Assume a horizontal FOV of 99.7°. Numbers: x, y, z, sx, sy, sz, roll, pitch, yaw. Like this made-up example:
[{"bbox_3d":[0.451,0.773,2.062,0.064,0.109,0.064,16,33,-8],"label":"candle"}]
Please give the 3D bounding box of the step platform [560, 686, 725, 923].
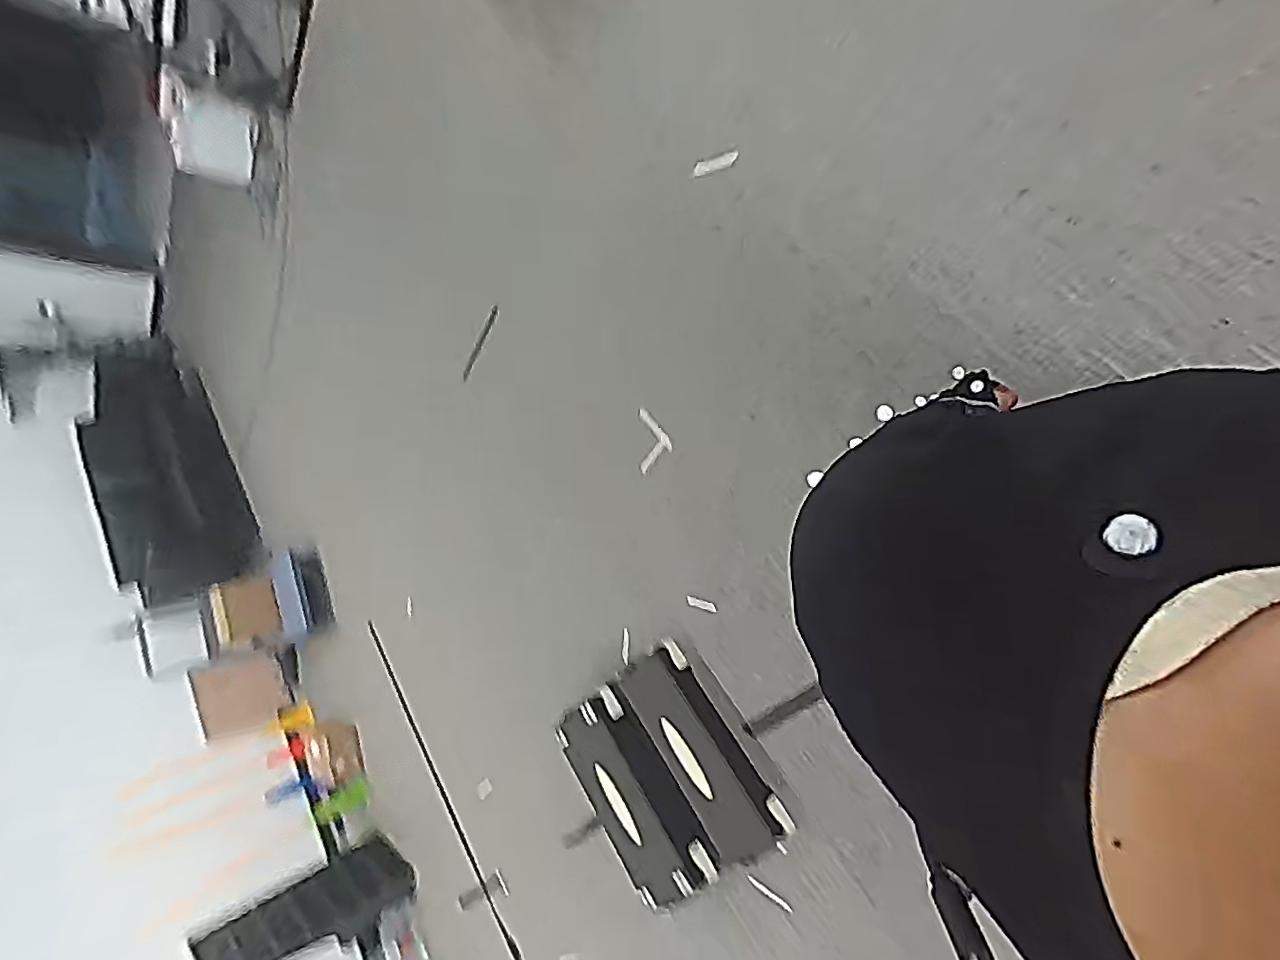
[{"bbox_3d":[-0.011,1.081,1.830,0.286,0.204,0.684,-44,65,34],"label":"step platform"}]
